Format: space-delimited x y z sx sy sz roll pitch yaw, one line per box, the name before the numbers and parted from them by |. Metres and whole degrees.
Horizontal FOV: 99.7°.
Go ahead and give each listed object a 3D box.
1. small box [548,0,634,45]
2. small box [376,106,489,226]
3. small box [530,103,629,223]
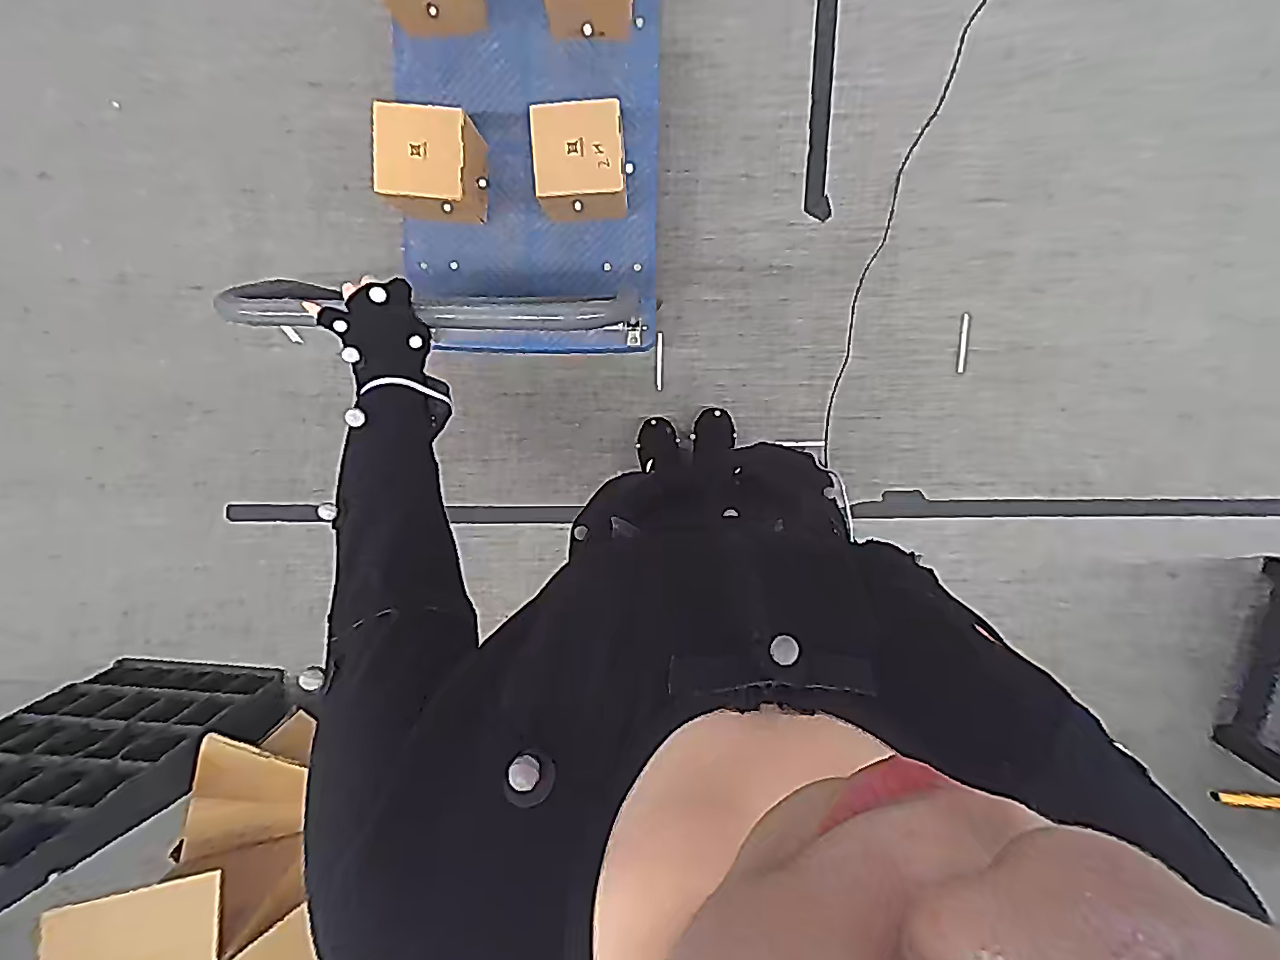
small box | -0.096 -1.006 1.061 0.168 0.176 0.179 2 101 1
small box | -0.427 -0.645 1.130 0.179 0.176 0.168 3 99 -1
small box | -0.118 -0.646 1.123 0.179 0.176 0.168 -3 100 2
